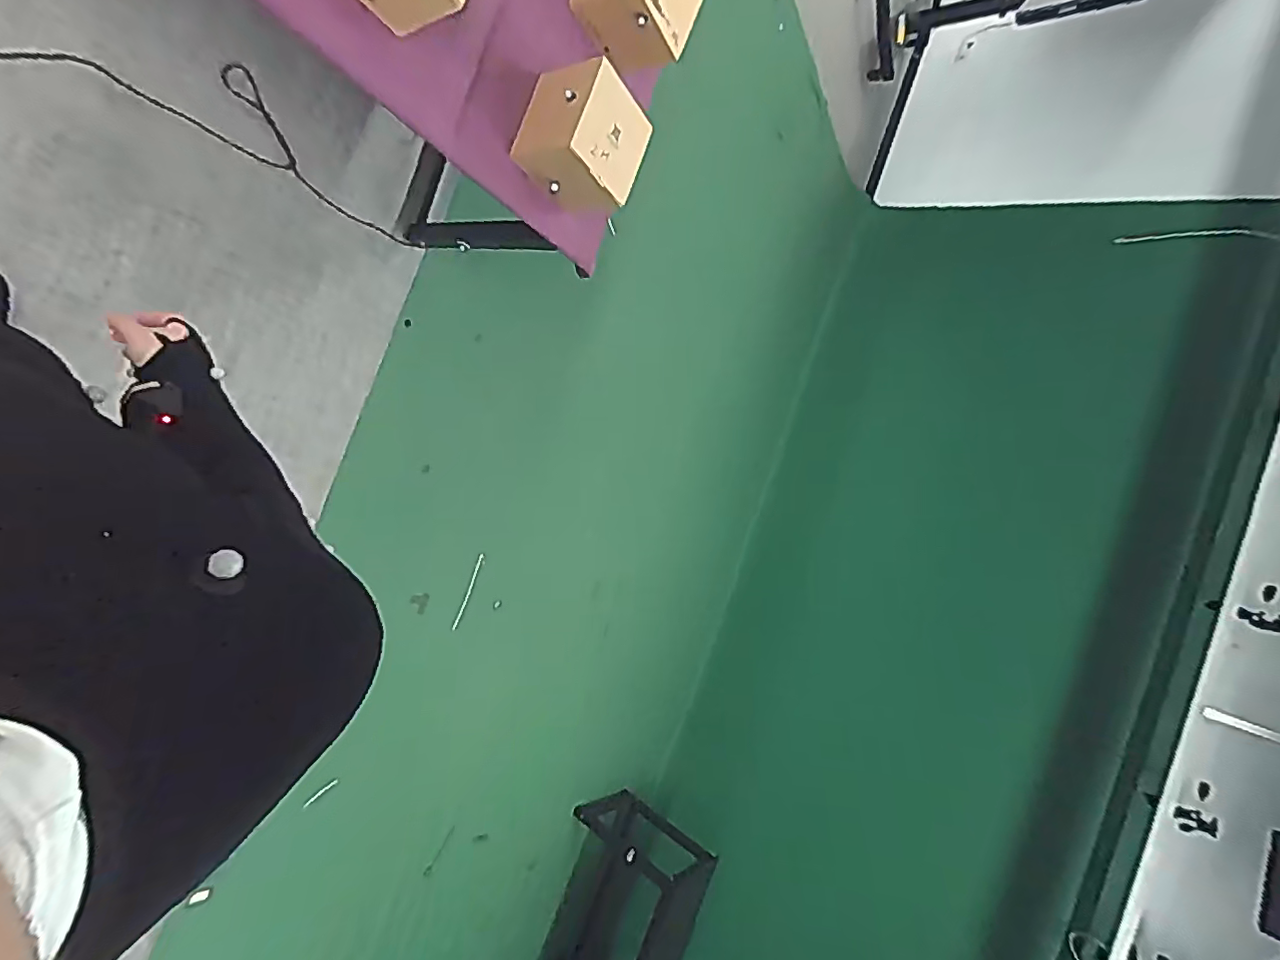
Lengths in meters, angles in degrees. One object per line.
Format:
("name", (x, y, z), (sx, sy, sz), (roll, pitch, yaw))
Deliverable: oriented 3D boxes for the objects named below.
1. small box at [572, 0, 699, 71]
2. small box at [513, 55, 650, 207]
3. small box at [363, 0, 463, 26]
("small box", (-0.006, -0.950, 1.051), (0.168, 0.176, 0.179), (26, 84, -54))
("small box", (-0.113, -0.651, 1.032), (0.168, 0.176, 0.179), (25, 84, -54))
("small box", (-0.322, -0.755, 0.706), (0.168, 0.176, 0.179), (18, 90, -56))
